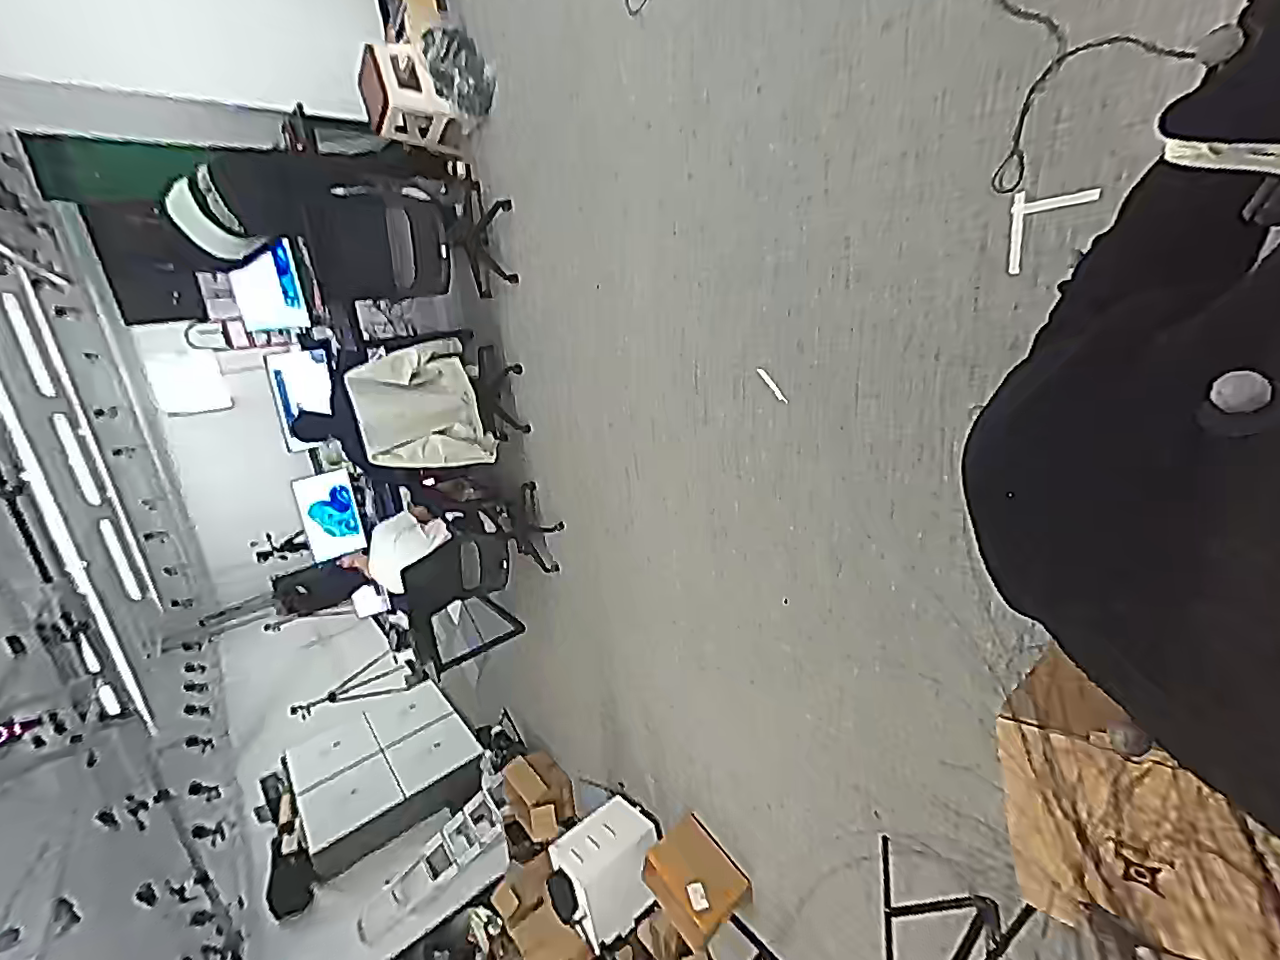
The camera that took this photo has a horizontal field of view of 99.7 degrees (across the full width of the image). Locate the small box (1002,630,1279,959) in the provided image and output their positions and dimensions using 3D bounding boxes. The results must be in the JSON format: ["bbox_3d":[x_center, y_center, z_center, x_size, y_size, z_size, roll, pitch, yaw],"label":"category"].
[{"bbox_3d":[0.412,0.239,0.422,0.168,0.176,0.179,-1,103,54],"label":"small box"}]
